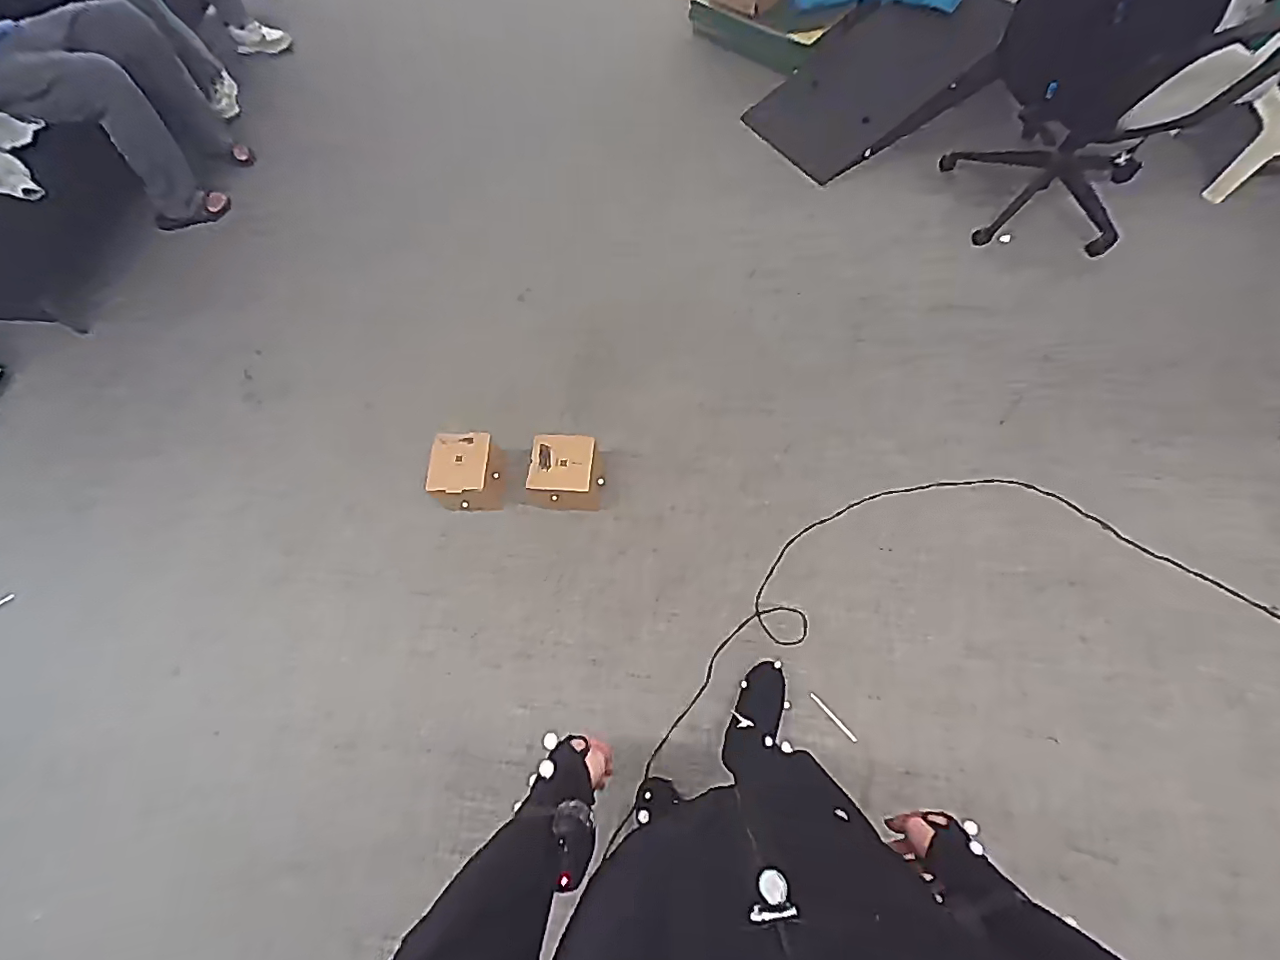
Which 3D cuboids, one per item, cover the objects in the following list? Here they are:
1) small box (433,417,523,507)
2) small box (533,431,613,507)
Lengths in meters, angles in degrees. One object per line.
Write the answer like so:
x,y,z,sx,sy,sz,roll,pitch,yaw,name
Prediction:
-0.473,-0.047,1.596,0.179,0.176,0.168,-29,65,-5,small box
-0.187,-0.028,1.565,0.179,0.176,0.168,6,70,9,small box
